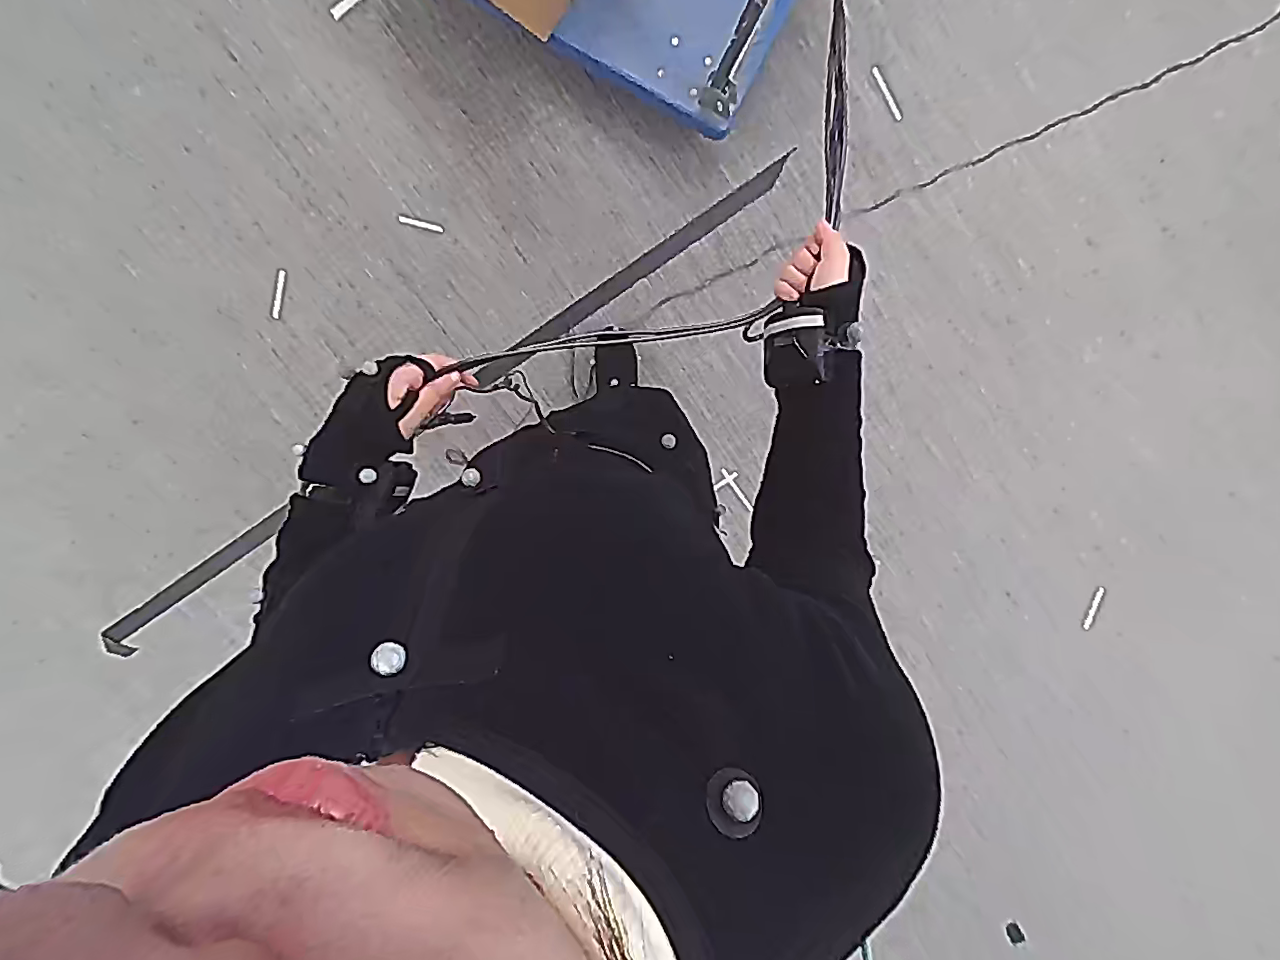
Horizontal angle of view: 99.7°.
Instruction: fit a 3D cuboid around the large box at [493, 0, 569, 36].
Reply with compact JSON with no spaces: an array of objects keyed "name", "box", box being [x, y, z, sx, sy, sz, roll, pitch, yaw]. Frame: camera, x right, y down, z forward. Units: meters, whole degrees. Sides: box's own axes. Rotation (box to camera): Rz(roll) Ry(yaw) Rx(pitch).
[{"name":"large box","box":[-0.273,-1.115,0.935,0.408,0.320,0.320,31,96,-8]}]
